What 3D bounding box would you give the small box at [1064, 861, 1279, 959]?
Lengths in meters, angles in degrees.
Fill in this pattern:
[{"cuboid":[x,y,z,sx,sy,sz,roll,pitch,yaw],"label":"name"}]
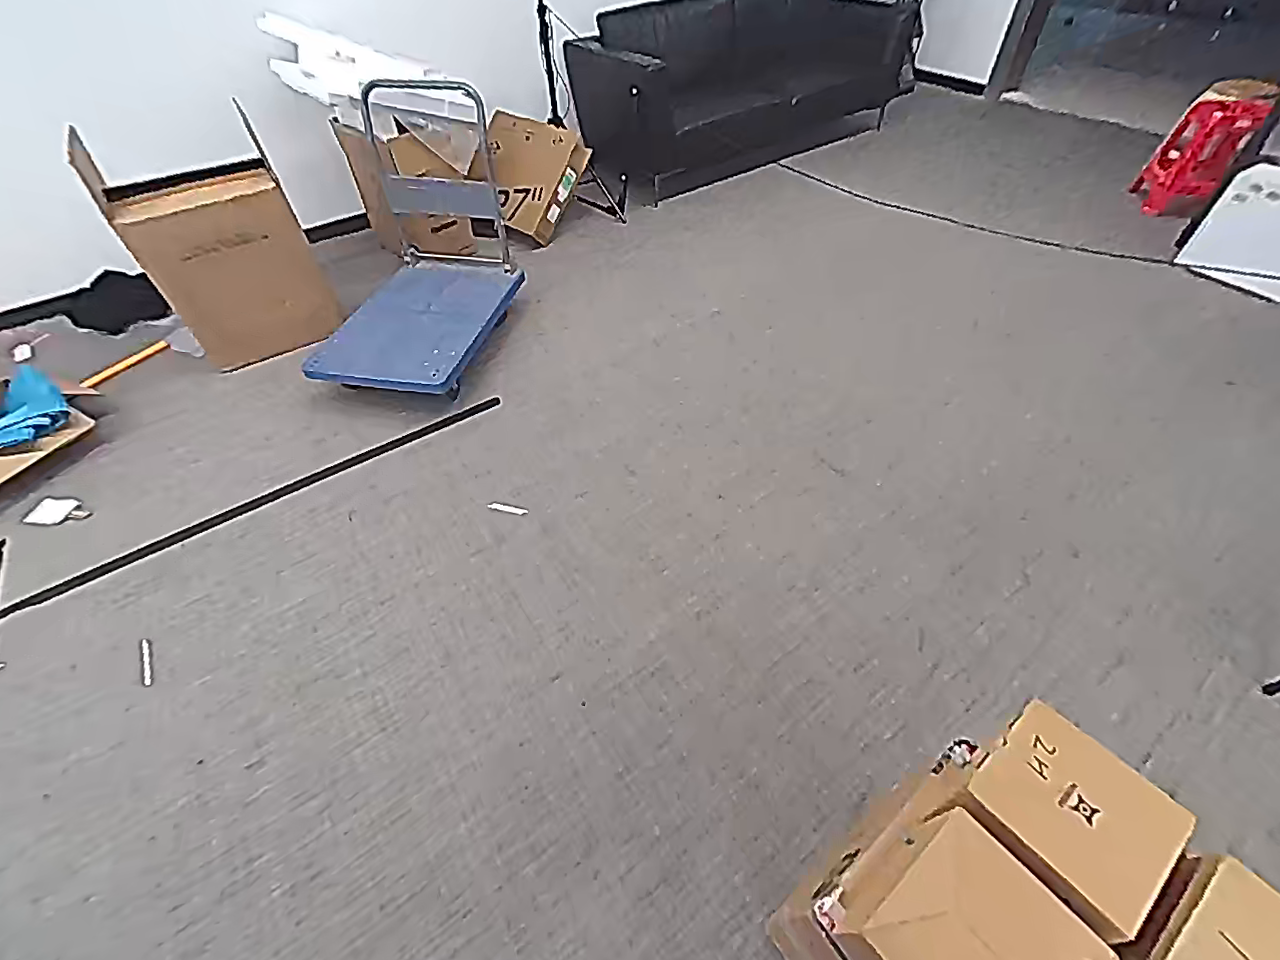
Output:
[{"cuboid":[0.599,0.535,0.551,0.168,0.176,0.179,-30,54,-21],"label":"small box"}]
